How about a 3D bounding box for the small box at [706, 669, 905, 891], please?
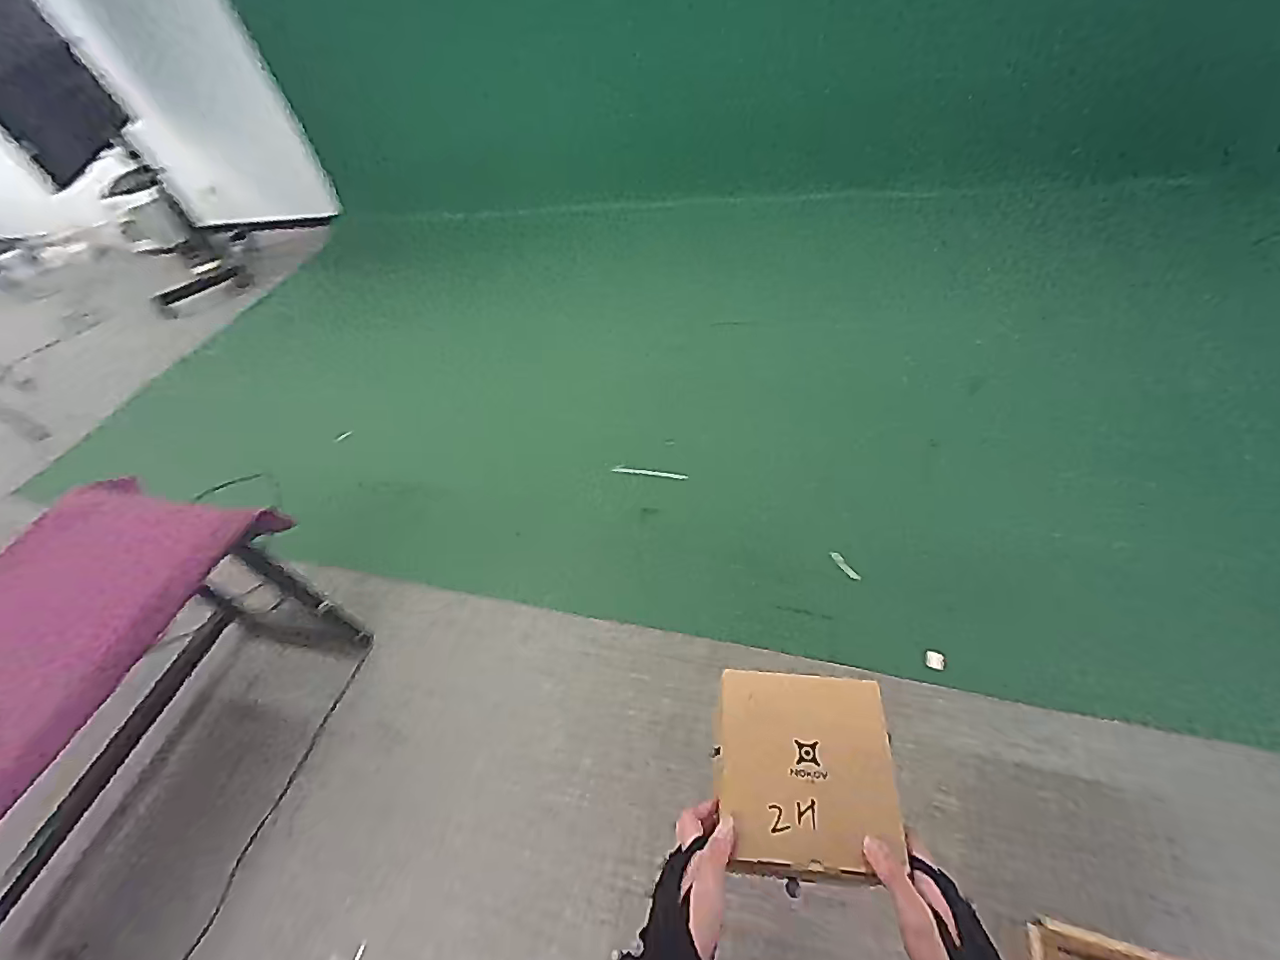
[{"bbox_3d":[0.158,0.327,0.587,0.168,0.176,0.179,2,51,5],"label":"small box"}]
